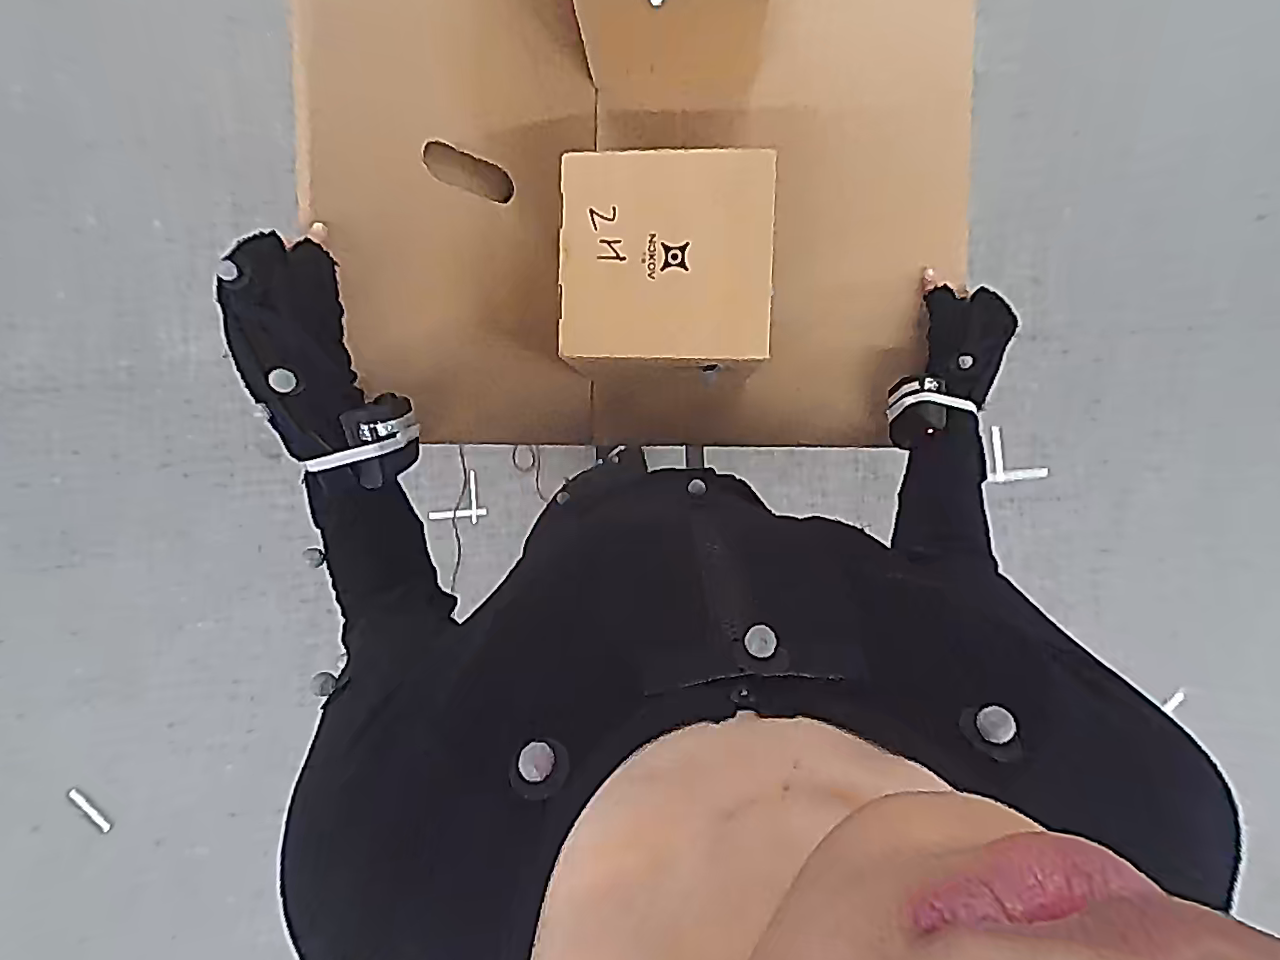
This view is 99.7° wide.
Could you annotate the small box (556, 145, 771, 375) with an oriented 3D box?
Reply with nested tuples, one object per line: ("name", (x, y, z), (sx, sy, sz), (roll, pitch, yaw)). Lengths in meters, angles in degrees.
("small box", (0.023, -0.198, 0.529), (0.179, 0.176, 0.168), (2, 93, 5))

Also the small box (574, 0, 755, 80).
("small box", (0.023, -0.517, 0.511), (0.179, 0.176, 0.168), (-1, 93, 4))
